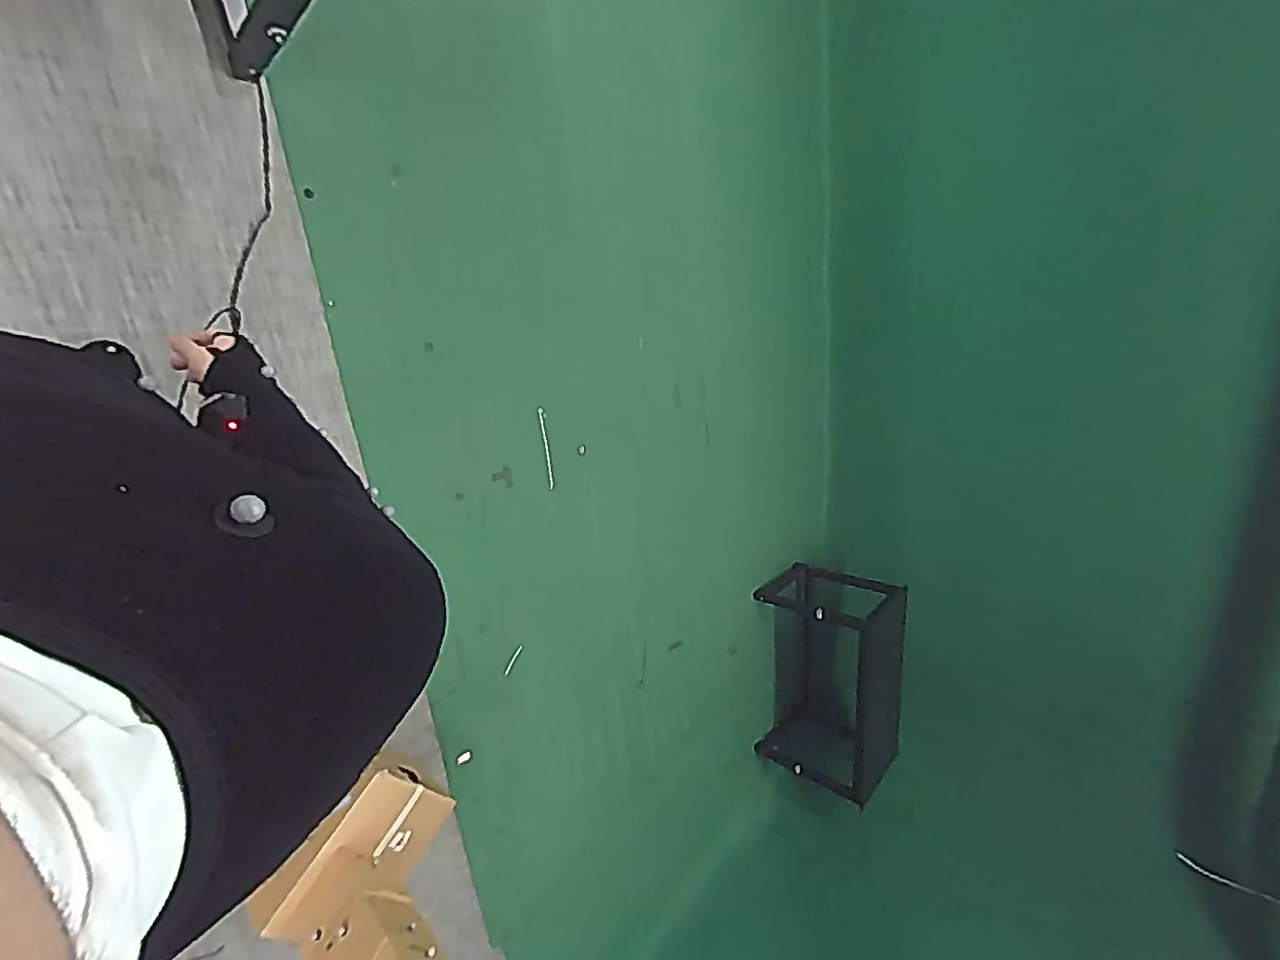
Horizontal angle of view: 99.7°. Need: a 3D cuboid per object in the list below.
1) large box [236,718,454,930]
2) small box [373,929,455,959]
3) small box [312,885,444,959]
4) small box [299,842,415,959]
[{"bbox_3d":[-0.833,0.976,1.545,0.408,0.320,0.320,-58,134,-25],"label":"large box"},{"bbox_3d":[-0.472,1.076,1.103,0.179,0.176,0.168,-59,133,-25],"label":"small box"},{"bbox_3d":[-0.588,1.058,1.217,0.168,0.176,0.179,-56,132,-26],"label":"small box"},{"bbox_3d":[-0.703,1.042,1.332,0.179,0.176,0.168,-57,133,-24],"label":"small box"}]
